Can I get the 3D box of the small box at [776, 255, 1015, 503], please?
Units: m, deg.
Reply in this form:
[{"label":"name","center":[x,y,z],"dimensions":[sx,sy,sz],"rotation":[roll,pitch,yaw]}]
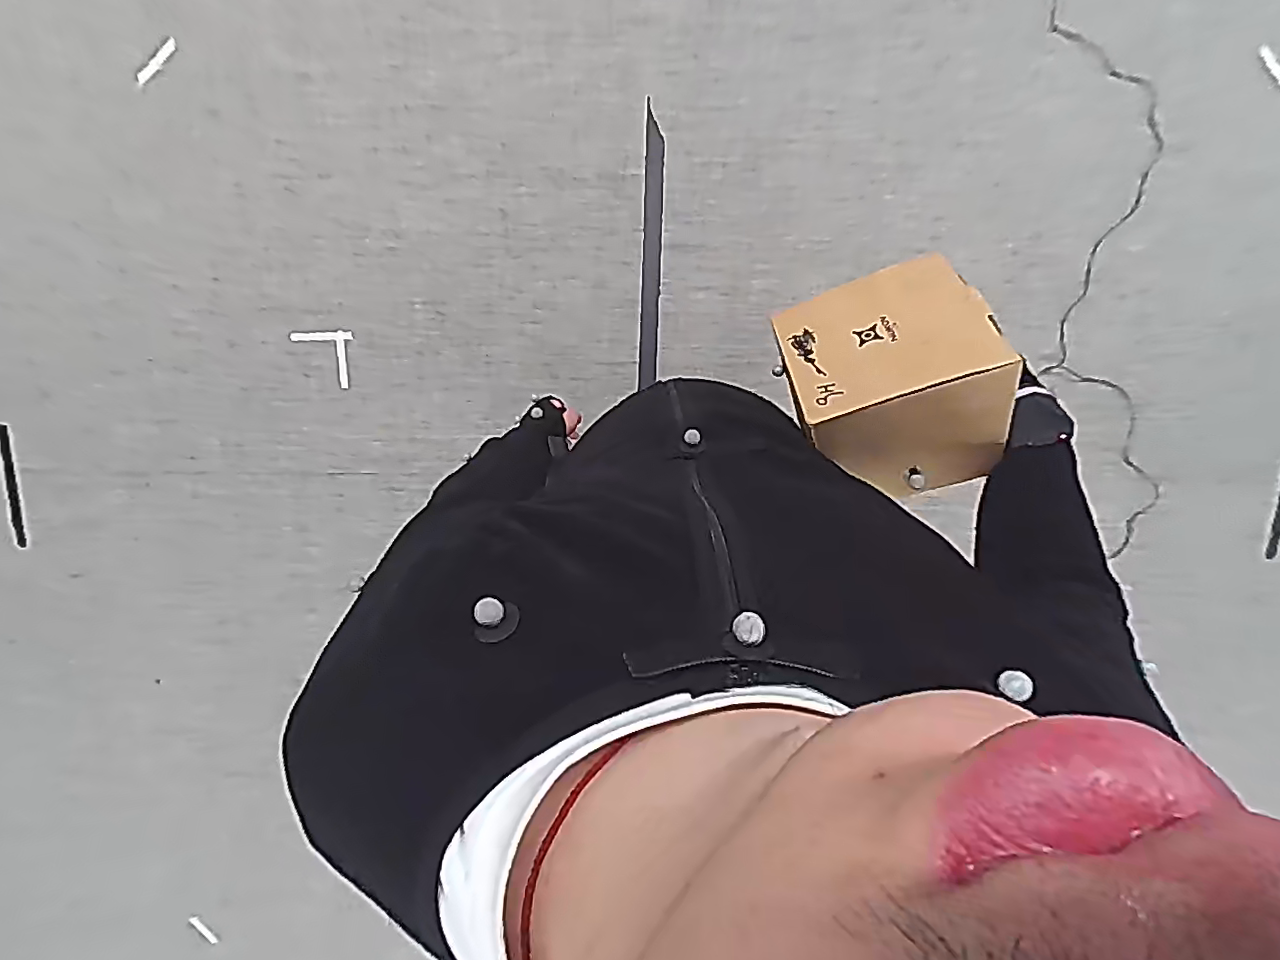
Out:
[{"label":"small box","center":[0.263,-0.100,0.587],"dimensions":[0.179,0.168,0.176],"rotation":[-17,141,16]}]
